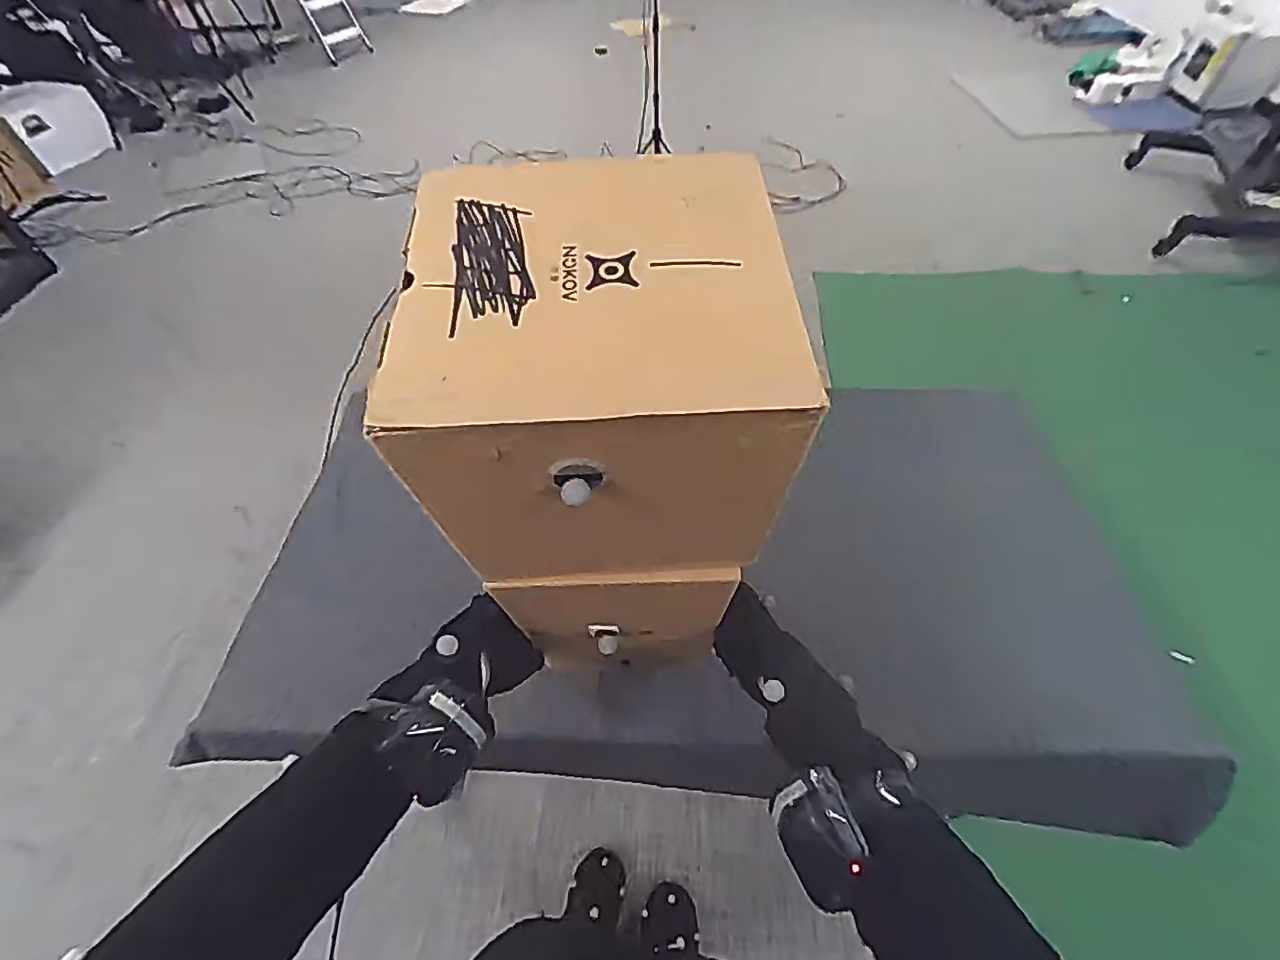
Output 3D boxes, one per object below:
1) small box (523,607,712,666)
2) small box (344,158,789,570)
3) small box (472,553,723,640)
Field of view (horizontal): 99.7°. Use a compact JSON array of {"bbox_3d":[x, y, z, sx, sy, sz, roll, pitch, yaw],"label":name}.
[{"bbox_3d":[-0.021,0.106,0.599,0.179,0.176,0.168,0,61,0],"label":"small box"},{"bbox_3d":[-0.028,-0.053,0.314,0.179,0.176,0.168,-3,61,0],"label":"small box"},{"bbox_3d":[-0.026,0.027,0.456,0.168,0.176,0.179,-1,62,1],"label":"small box"}]
